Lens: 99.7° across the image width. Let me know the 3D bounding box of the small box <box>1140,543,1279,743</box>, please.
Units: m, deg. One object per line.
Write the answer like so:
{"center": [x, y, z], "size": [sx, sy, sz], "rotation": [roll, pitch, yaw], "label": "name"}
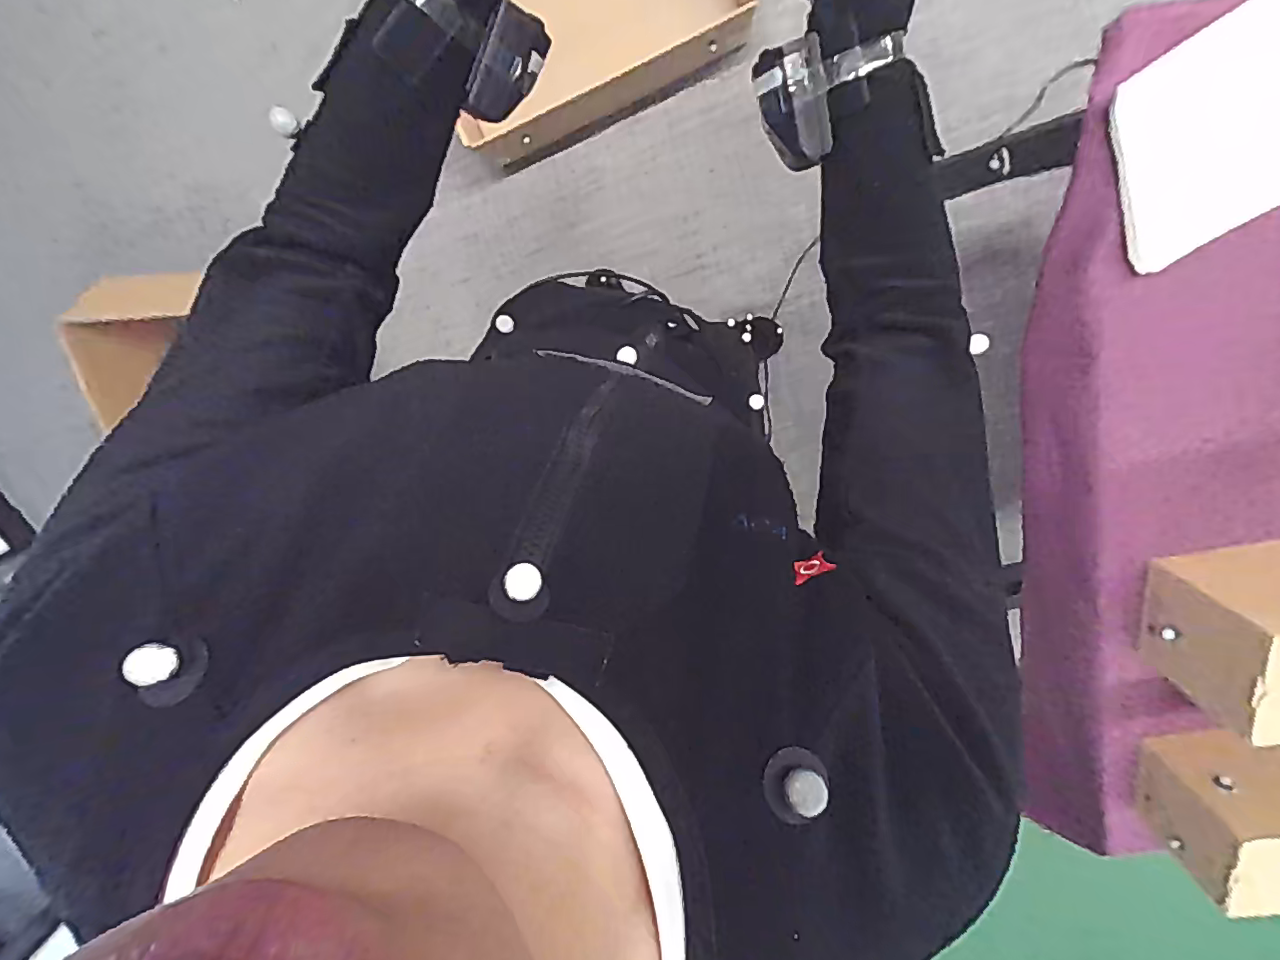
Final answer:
{"center": [0.796, 0.193, 0.679], "size": [0.179, 0.176, 0.168], "rotation": [-11, 111, 8], "label": "small box"}
